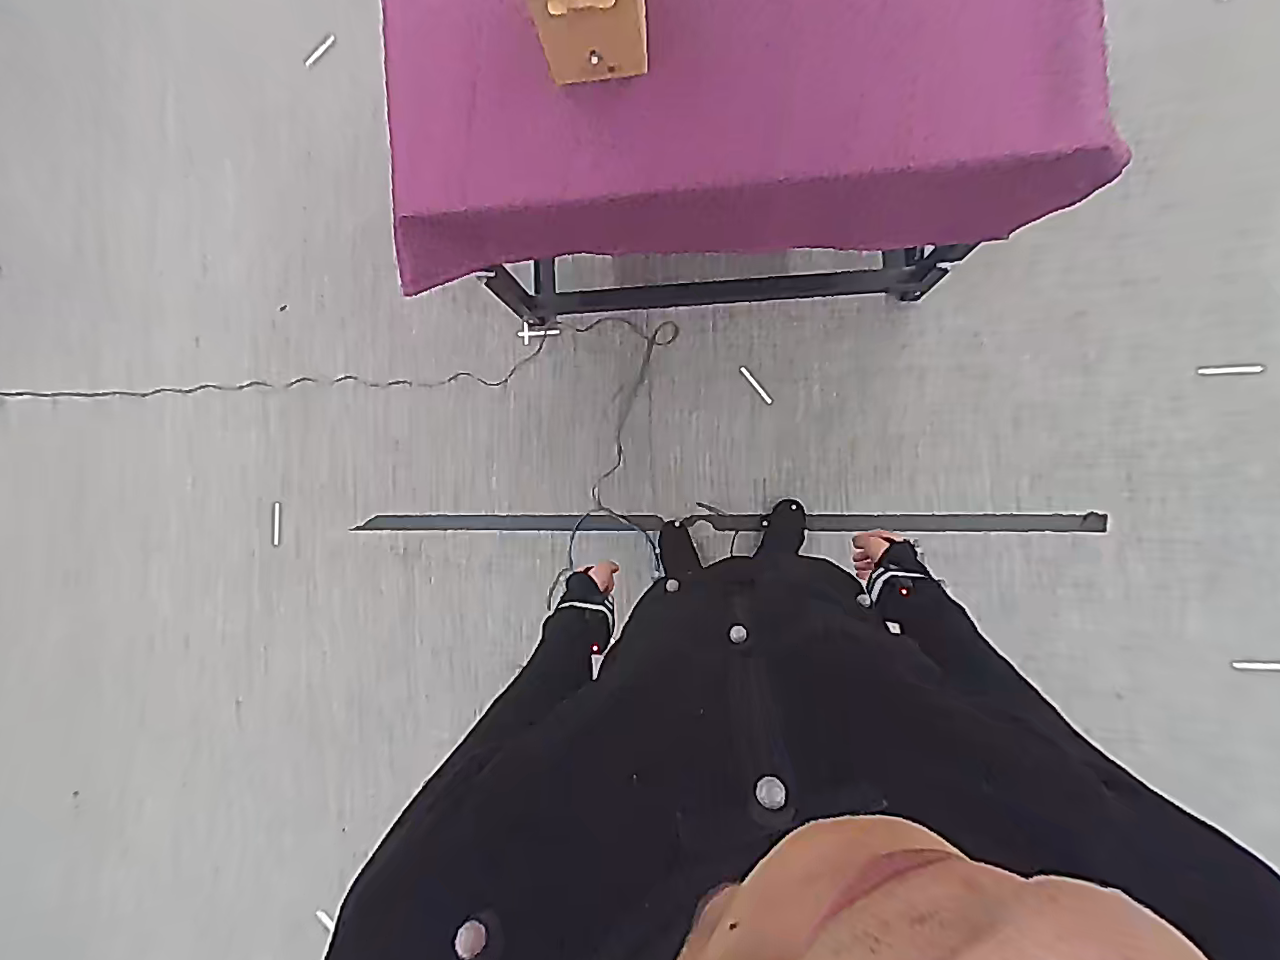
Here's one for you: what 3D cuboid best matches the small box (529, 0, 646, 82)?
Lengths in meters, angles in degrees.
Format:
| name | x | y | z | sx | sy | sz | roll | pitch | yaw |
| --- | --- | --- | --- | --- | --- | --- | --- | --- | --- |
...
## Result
| name | x | y | z | sx | sy | sz | roll | pitch | yaw |
| --- | --- | --- | --- | --- | --- | --- | --- | --- | --- |
| small box | -0.082 | -0.798 | 0.877 | 0.168 | 0.176 | 0.179 | -2 | 88 | 7 |
